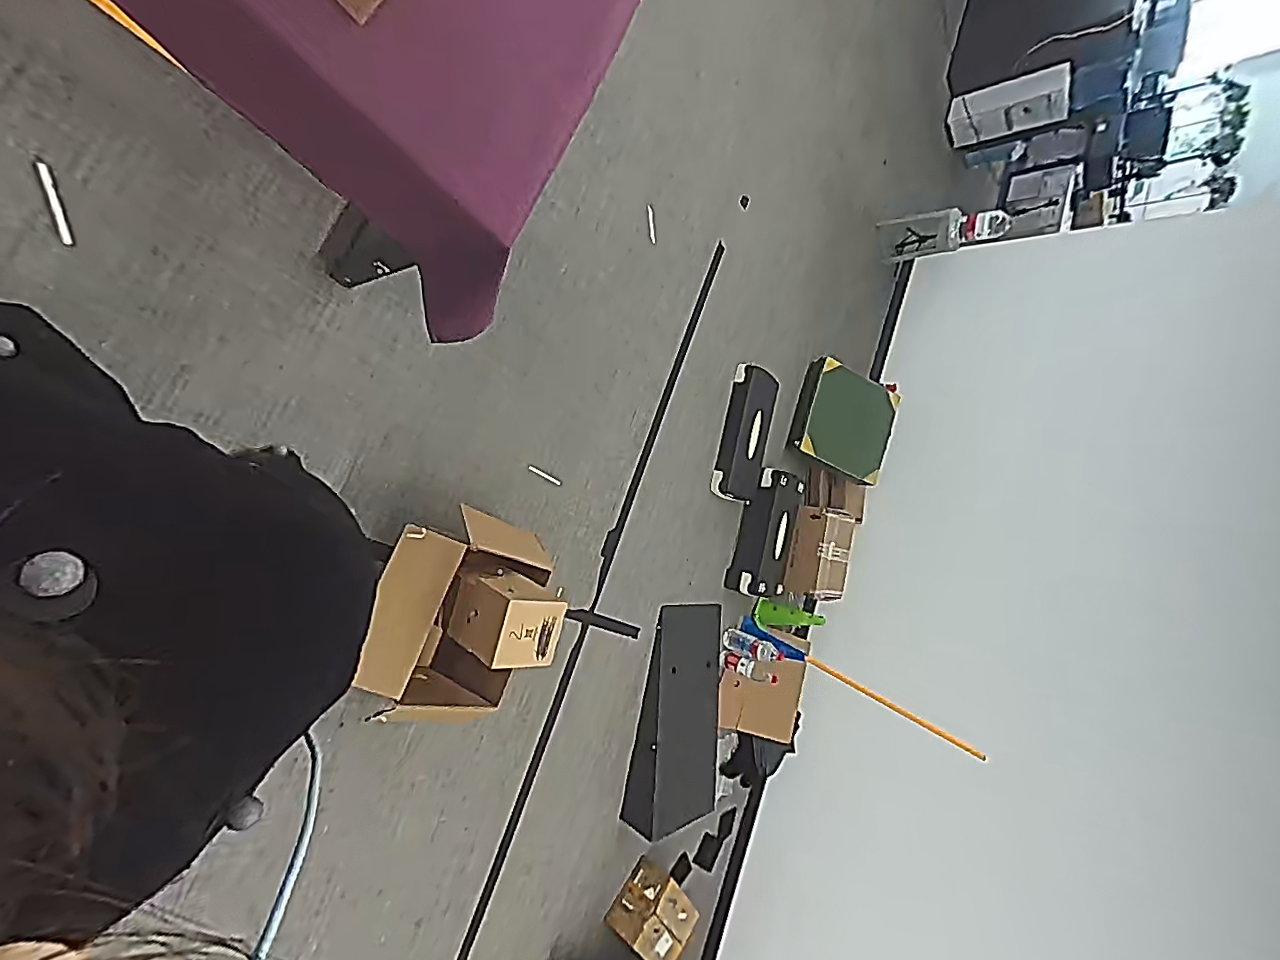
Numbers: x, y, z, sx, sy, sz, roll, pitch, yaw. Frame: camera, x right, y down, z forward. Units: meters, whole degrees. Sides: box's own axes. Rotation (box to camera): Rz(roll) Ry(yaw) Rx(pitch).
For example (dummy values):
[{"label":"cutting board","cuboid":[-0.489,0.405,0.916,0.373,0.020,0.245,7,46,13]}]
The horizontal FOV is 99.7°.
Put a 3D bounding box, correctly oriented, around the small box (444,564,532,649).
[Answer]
[{"label":"small box","cuboid":[-0.418,0.334,1.476,0.168,0.176,0.179,2,99,-45]}]
